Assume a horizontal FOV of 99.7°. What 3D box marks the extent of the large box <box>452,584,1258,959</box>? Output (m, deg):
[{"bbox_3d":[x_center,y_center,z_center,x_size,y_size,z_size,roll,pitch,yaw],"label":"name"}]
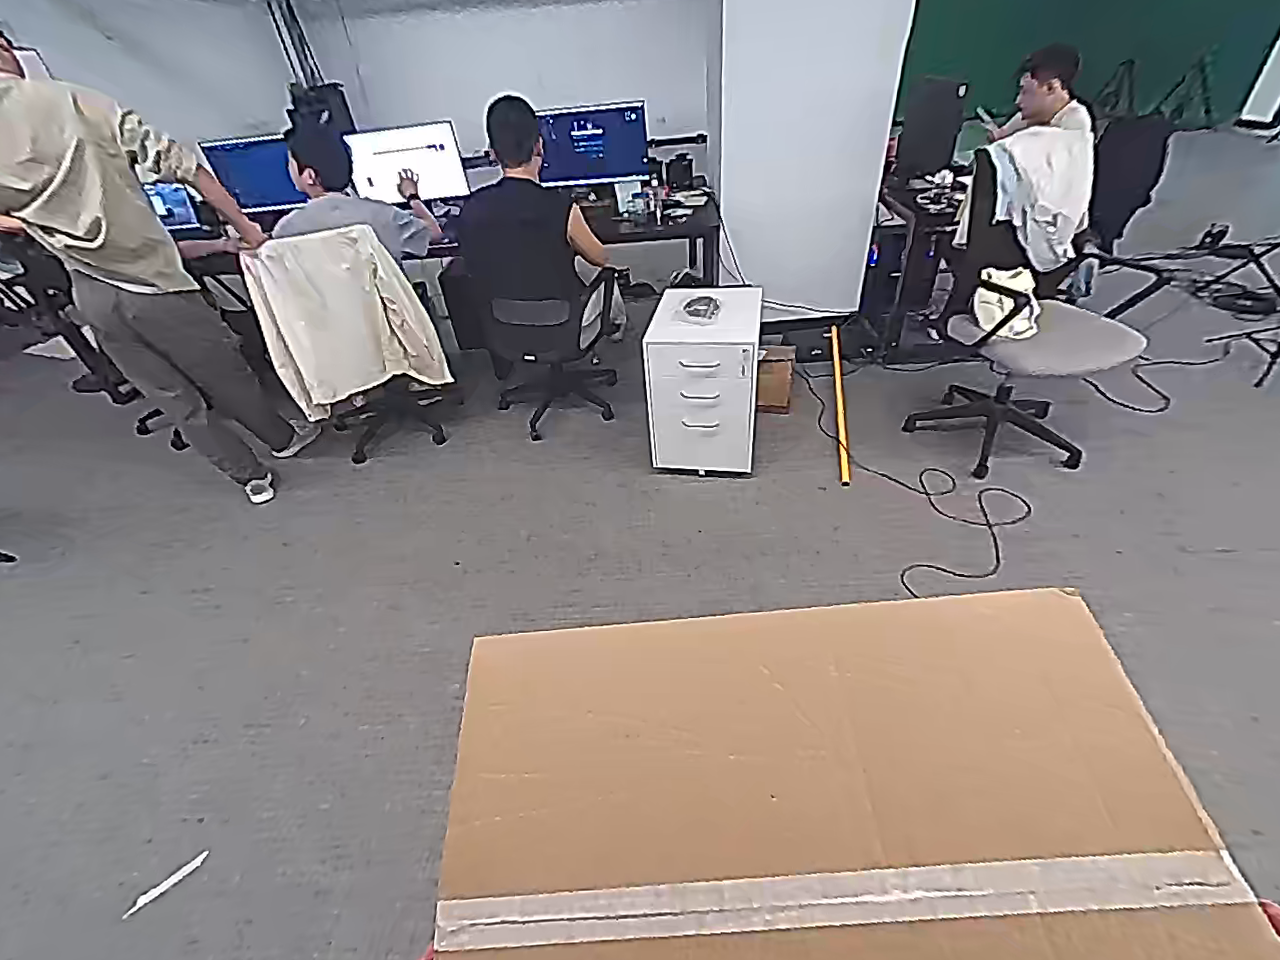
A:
[{"bbox_3d":[0.109,0.304,0.412,0.408,0.320,0.320,-6,55,3],"label":"large box"}]
